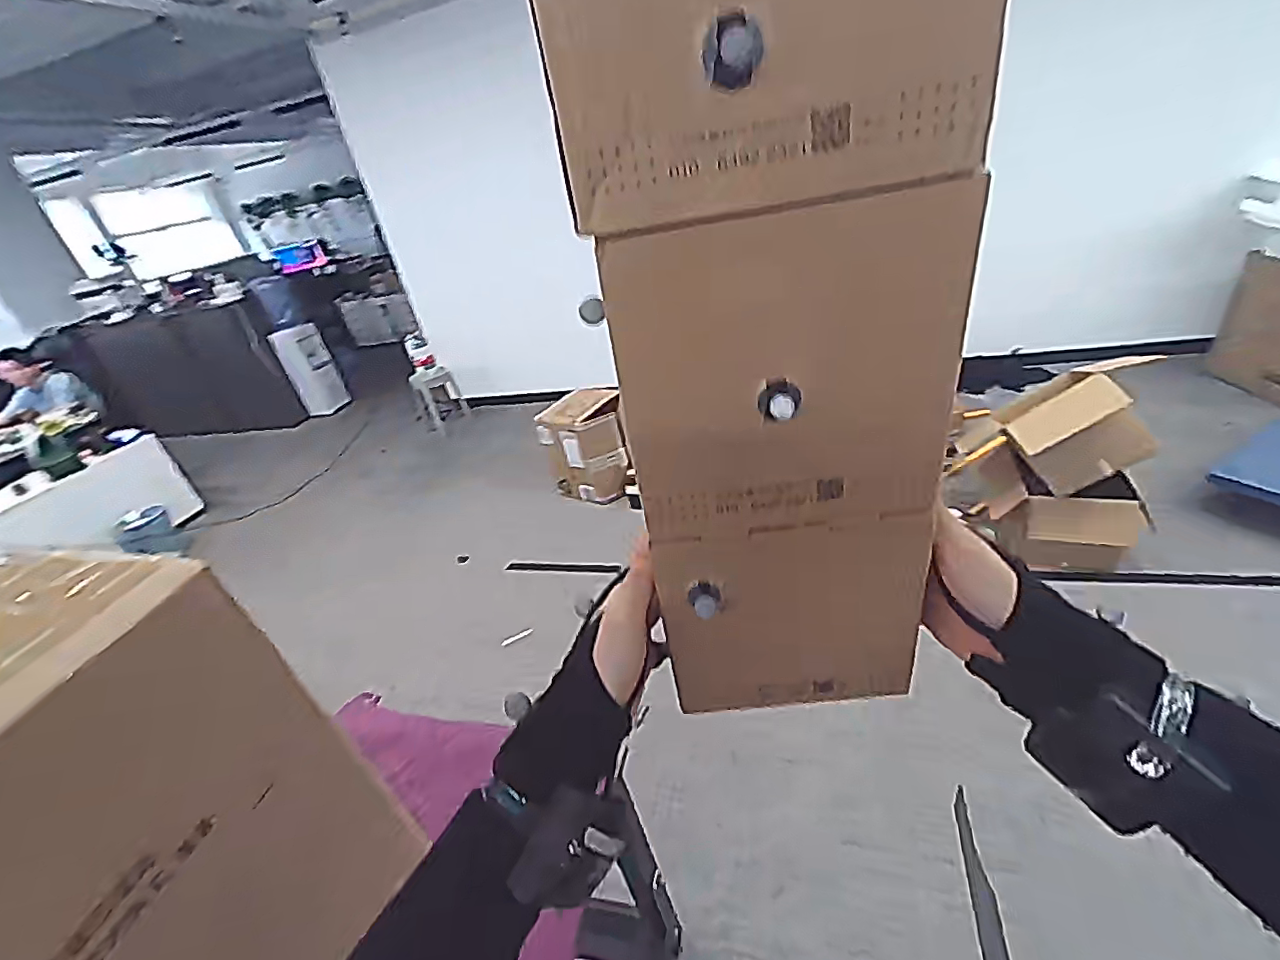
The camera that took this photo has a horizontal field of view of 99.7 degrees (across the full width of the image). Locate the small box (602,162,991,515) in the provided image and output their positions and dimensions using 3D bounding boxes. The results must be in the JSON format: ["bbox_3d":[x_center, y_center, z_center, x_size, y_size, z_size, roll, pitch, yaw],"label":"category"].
[{"bbox_3d":[0.077,-0.090,0.336,0.168,0.176,0.179,-7,31,4],"label":"small box"}]

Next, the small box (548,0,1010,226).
[{"bbox_3d":[0.046,-0.225,0.251,0.168,0.176,0.179,-8,32,4],"label":"small box"}]
